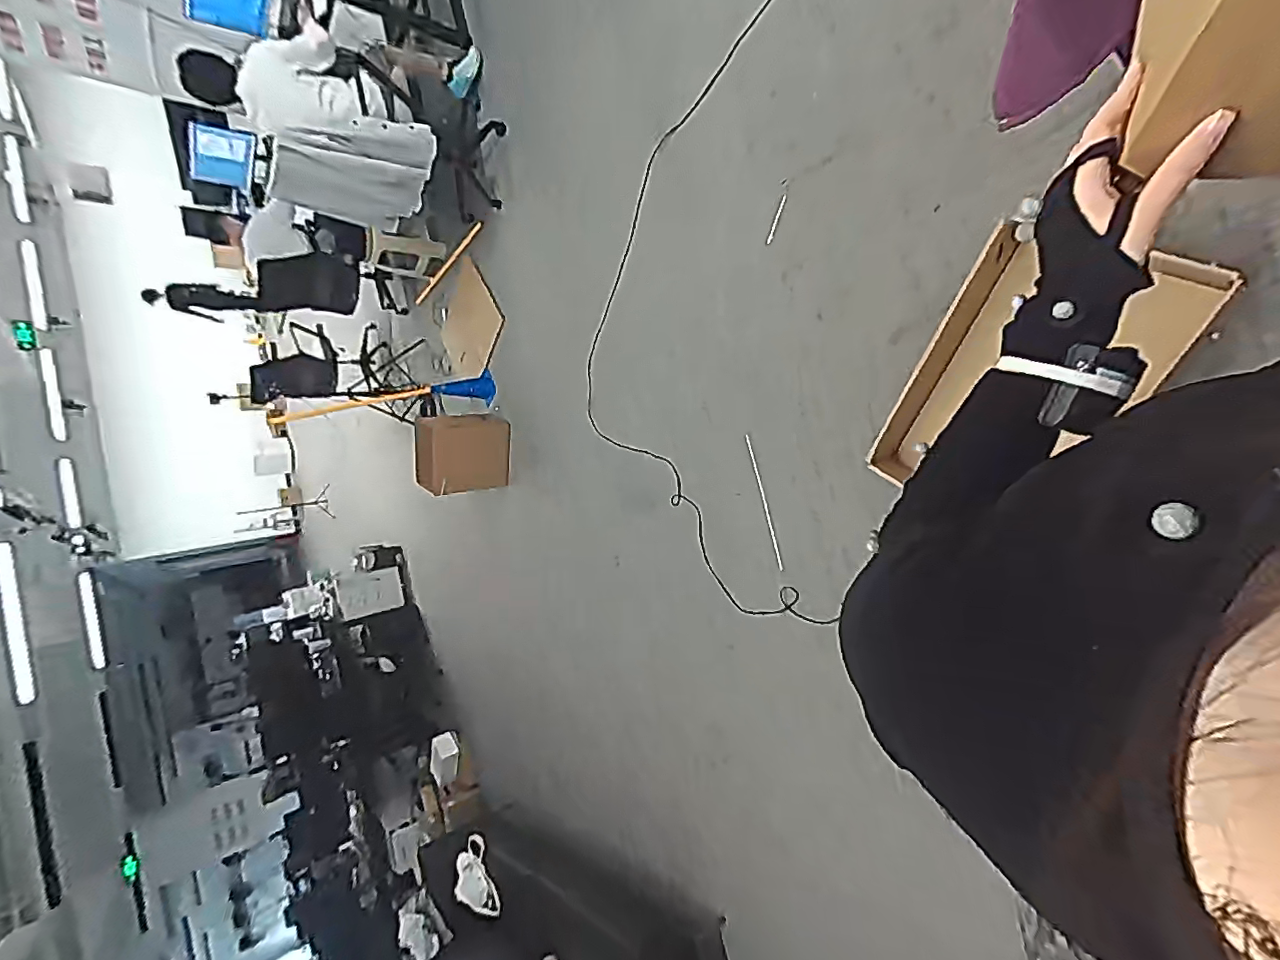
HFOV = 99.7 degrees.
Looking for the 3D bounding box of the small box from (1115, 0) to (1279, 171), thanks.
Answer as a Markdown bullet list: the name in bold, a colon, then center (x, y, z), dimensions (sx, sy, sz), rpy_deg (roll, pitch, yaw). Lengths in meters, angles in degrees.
- **small box**: center (0.398, -0.290, 0.272), dimensions (0.179, 0.168, 0.176), rpy_deg (14, 83, 22)
